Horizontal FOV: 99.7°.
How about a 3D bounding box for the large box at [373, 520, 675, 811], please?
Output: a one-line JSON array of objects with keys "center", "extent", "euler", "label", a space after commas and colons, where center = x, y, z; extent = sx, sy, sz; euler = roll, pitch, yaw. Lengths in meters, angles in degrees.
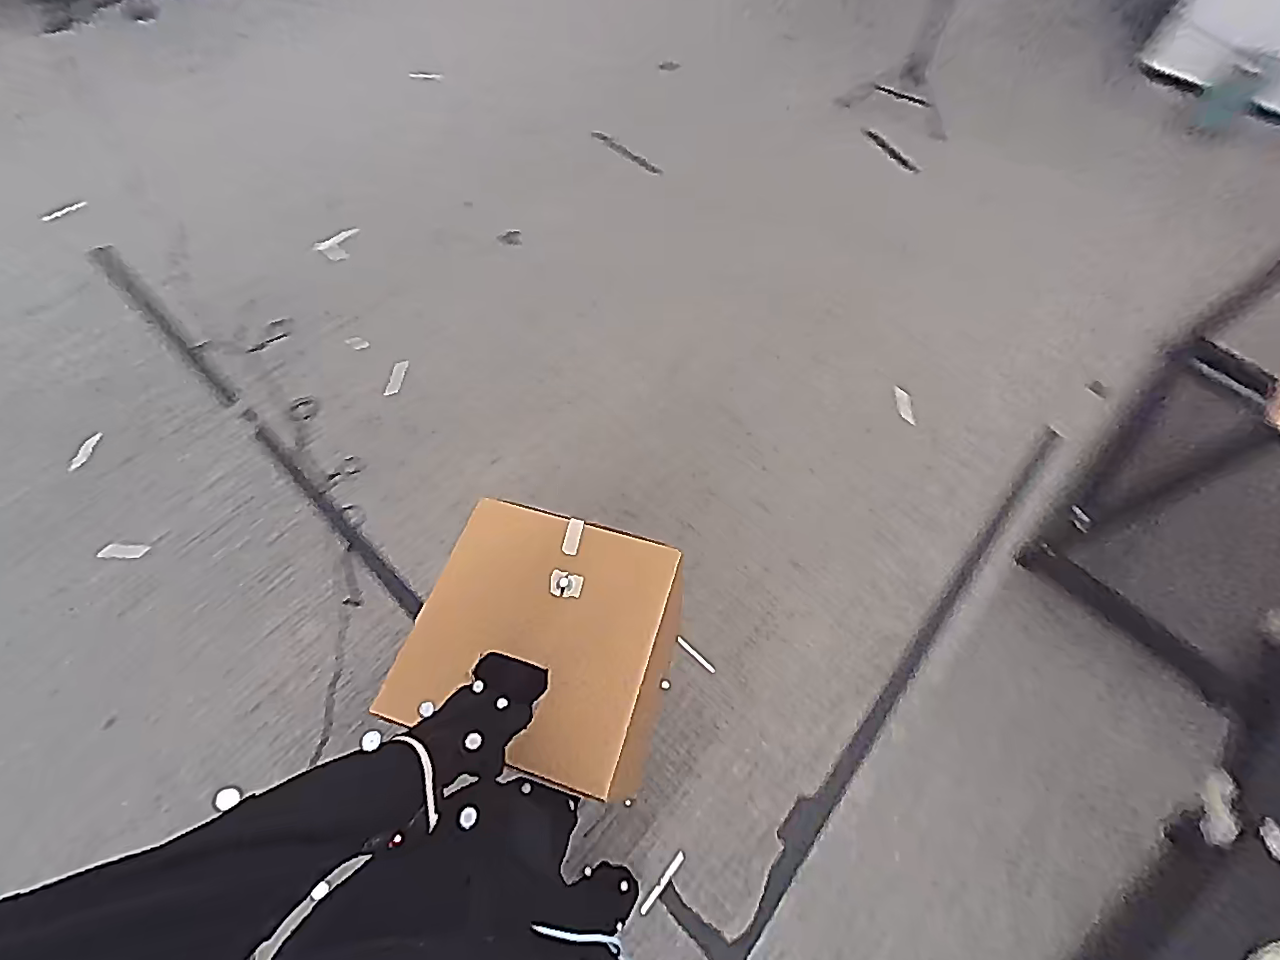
[{"center": [-0.127, 0.303, 0.862], "extent": [0.320, 0.408, 0.320], "euler": [13, 63, 11], "label": "large box"}]
